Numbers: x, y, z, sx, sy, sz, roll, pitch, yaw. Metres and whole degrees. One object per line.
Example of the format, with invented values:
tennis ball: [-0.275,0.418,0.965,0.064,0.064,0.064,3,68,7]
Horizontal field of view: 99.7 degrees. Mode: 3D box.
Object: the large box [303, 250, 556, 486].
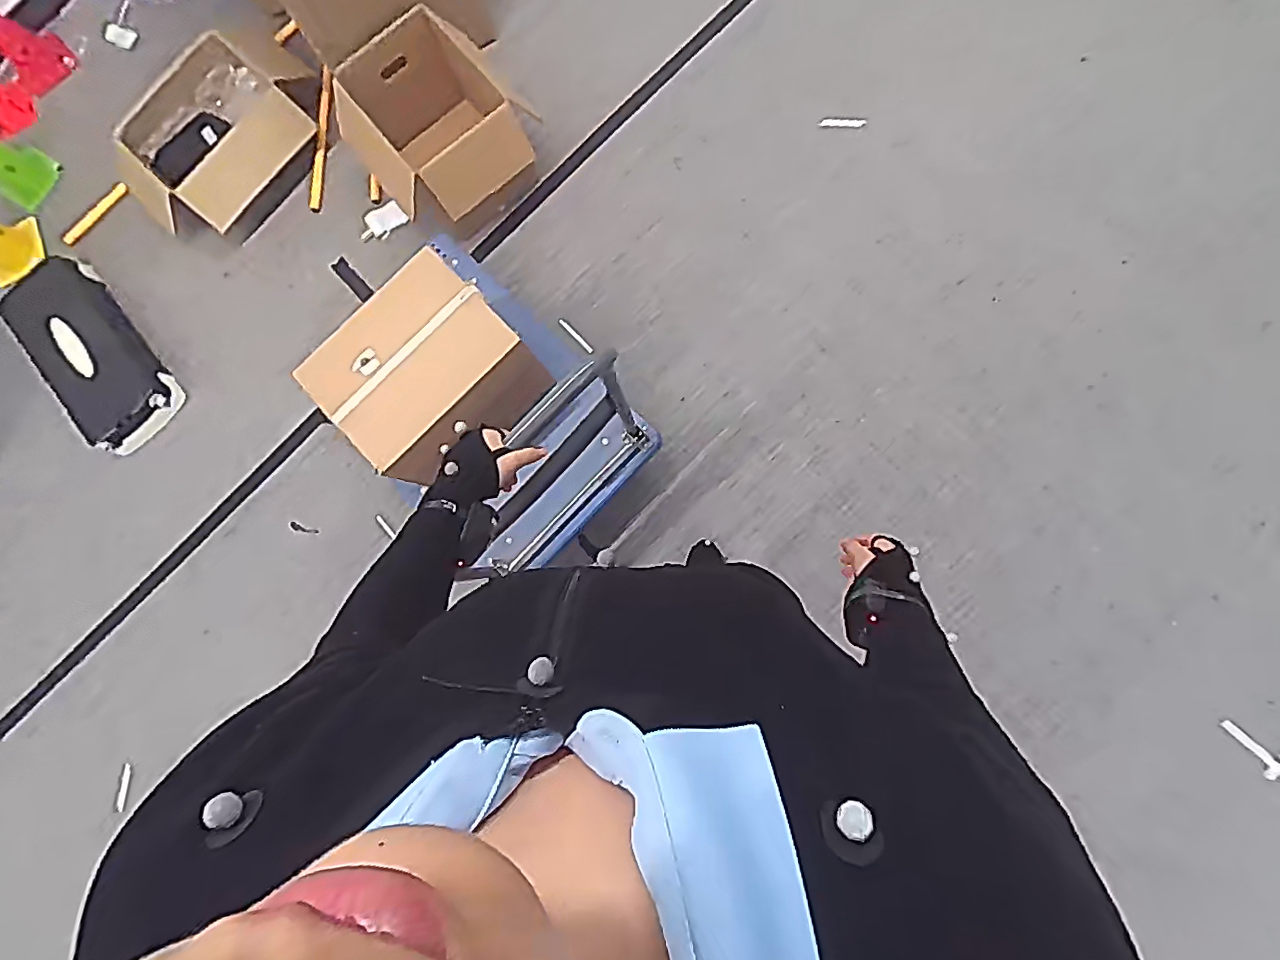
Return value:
large box: [-0.472,-0.242,1.296,0.408,0.320,0.320,-45,80,0]
